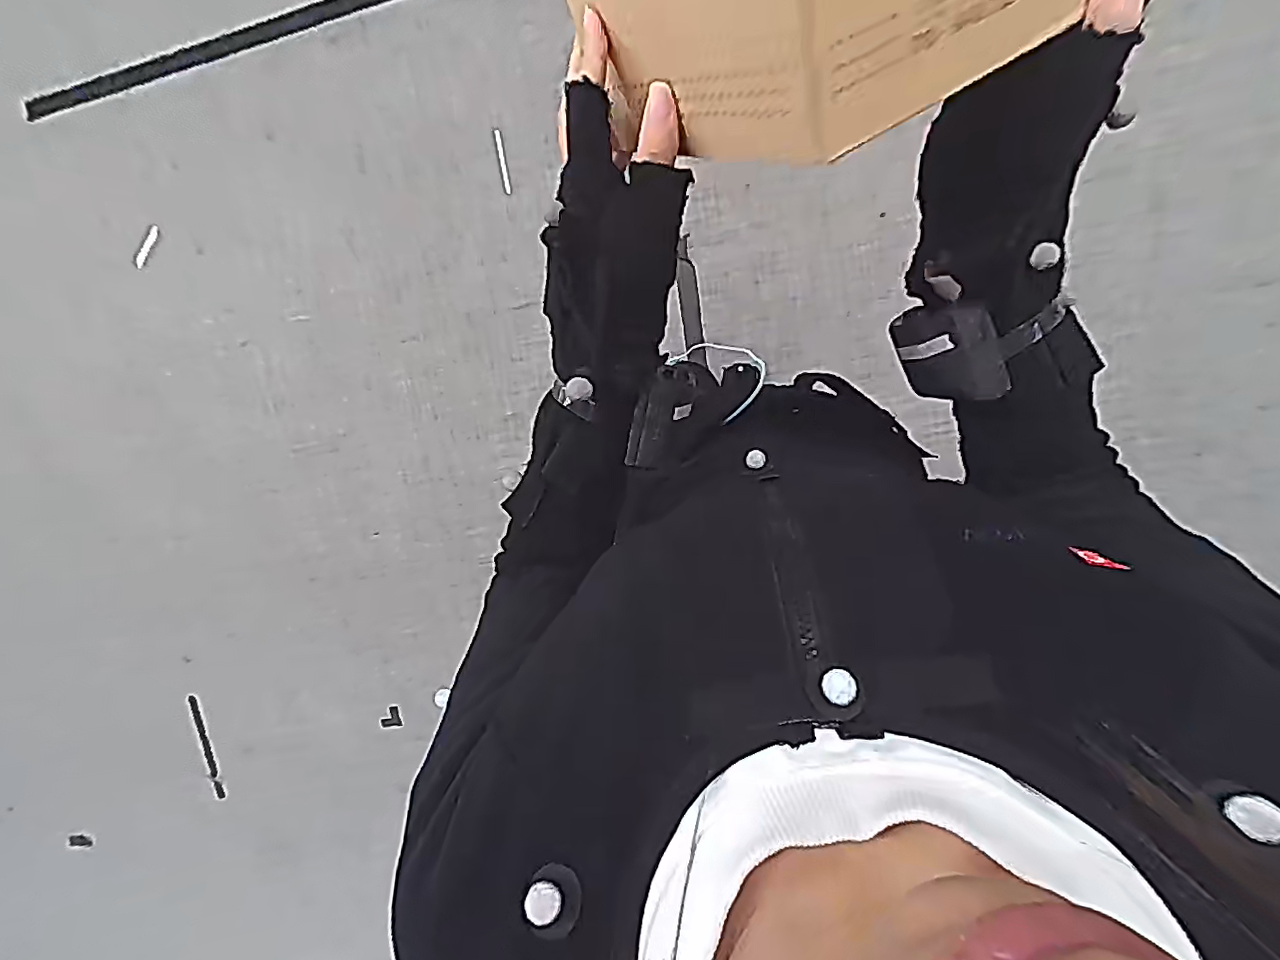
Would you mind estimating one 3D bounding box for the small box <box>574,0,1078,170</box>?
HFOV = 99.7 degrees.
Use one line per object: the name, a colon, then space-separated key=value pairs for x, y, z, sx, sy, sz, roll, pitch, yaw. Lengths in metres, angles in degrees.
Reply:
small box: x=0.066 y=-0.258 z=0.233 sx=0.168 sy=0.179 sz=0.176 roll=-31 pitch=131 yaw=-8
